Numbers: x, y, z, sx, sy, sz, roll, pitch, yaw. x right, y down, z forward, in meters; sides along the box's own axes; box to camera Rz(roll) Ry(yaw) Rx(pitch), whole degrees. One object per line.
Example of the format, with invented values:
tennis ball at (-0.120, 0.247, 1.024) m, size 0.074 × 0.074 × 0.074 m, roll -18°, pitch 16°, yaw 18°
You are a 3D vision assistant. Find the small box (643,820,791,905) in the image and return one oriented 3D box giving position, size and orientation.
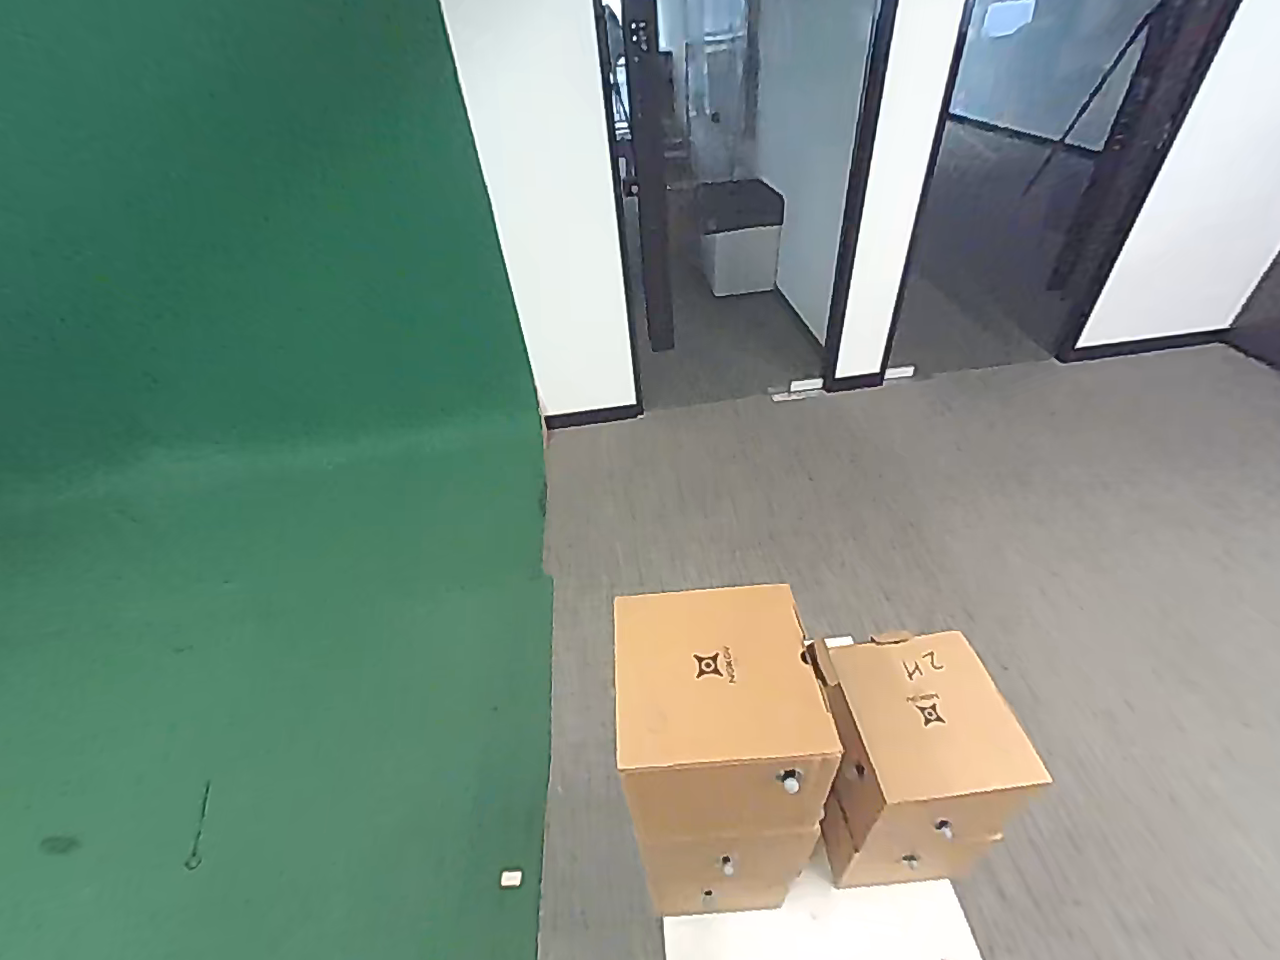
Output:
small box at (0.096, 0.466, 0.748) m, size 0.179 × 0.176 × 0.168 m, roll -5°, pitch 42°, yaw 0°

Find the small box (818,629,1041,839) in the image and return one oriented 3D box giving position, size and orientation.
small box at (0.320, 0.308, 0.650) m, size 0.168 × 0.176 × 0.179 m, roll -7°, pitch 41°, yaw 0°

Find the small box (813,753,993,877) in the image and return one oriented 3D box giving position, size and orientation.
small box at (0.341, 0.433, 0.756) m, size 0.179 × 0.176 × 0.168 m, roll -6°, pitch 42°, yaw 1°

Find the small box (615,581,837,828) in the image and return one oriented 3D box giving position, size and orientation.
small box at (0.071, 0.222, 0.532) m, size 0.179 × 0.176 × 0.168 m, roll -4°, pitch 41°, yaw 0°
